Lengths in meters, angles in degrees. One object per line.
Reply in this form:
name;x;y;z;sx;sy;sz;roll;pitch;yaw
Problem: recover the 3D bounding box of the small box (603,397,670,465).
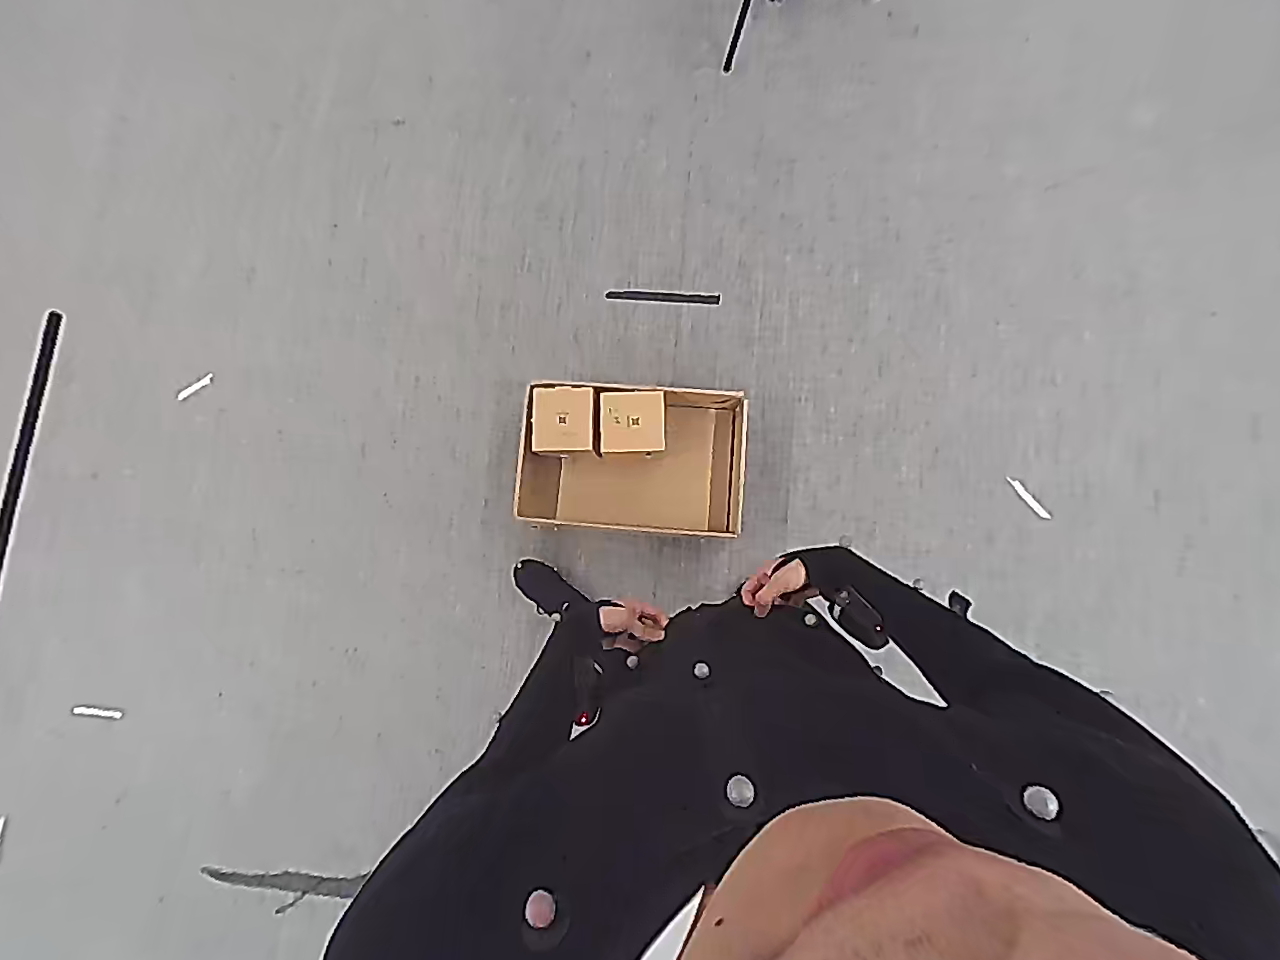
small box;-0.011;-0.135;1.530;0.179;0.176;0.168;-2;83;1
